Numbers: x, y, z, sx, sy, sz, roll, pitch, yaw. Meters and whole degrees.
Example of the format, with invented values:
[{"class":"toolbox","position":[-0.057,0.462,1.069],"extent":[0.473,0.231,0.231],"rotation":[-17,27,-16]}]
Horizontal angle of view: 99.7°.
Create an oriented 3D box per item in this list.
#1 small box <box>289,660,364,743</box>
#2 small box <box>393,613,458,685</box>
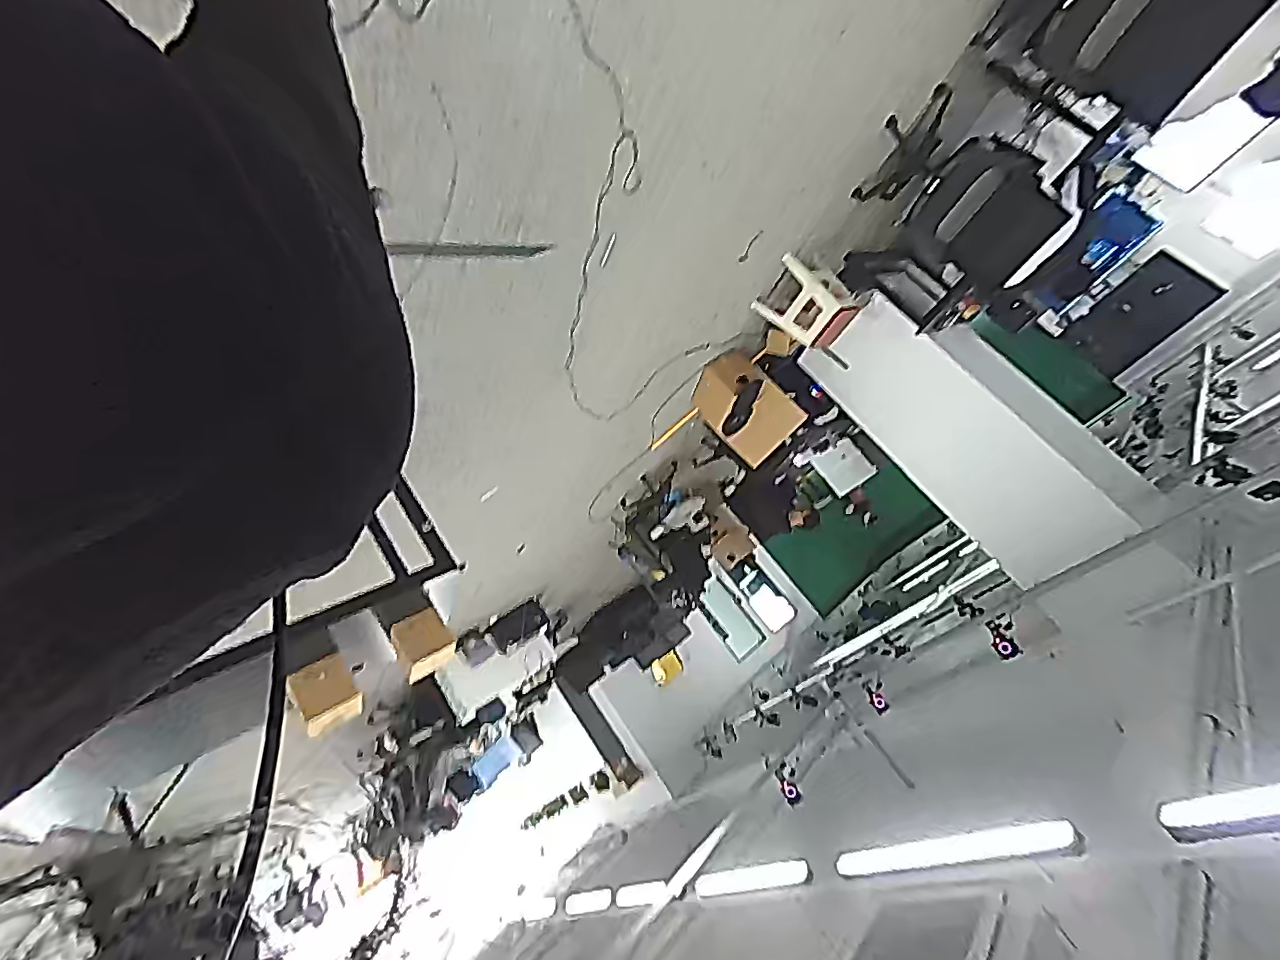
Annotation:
[{"class":"small box","position":[-1.027,0.723,1.774],"extent":[0.168,0.176,0.179],"rotation":[-24,156,-39]},{"class":"small box","position":[-0.788,0.612,1.977],"extent":[0.168,0.176,0.179],"rotation":[-24,158,-36]}]
